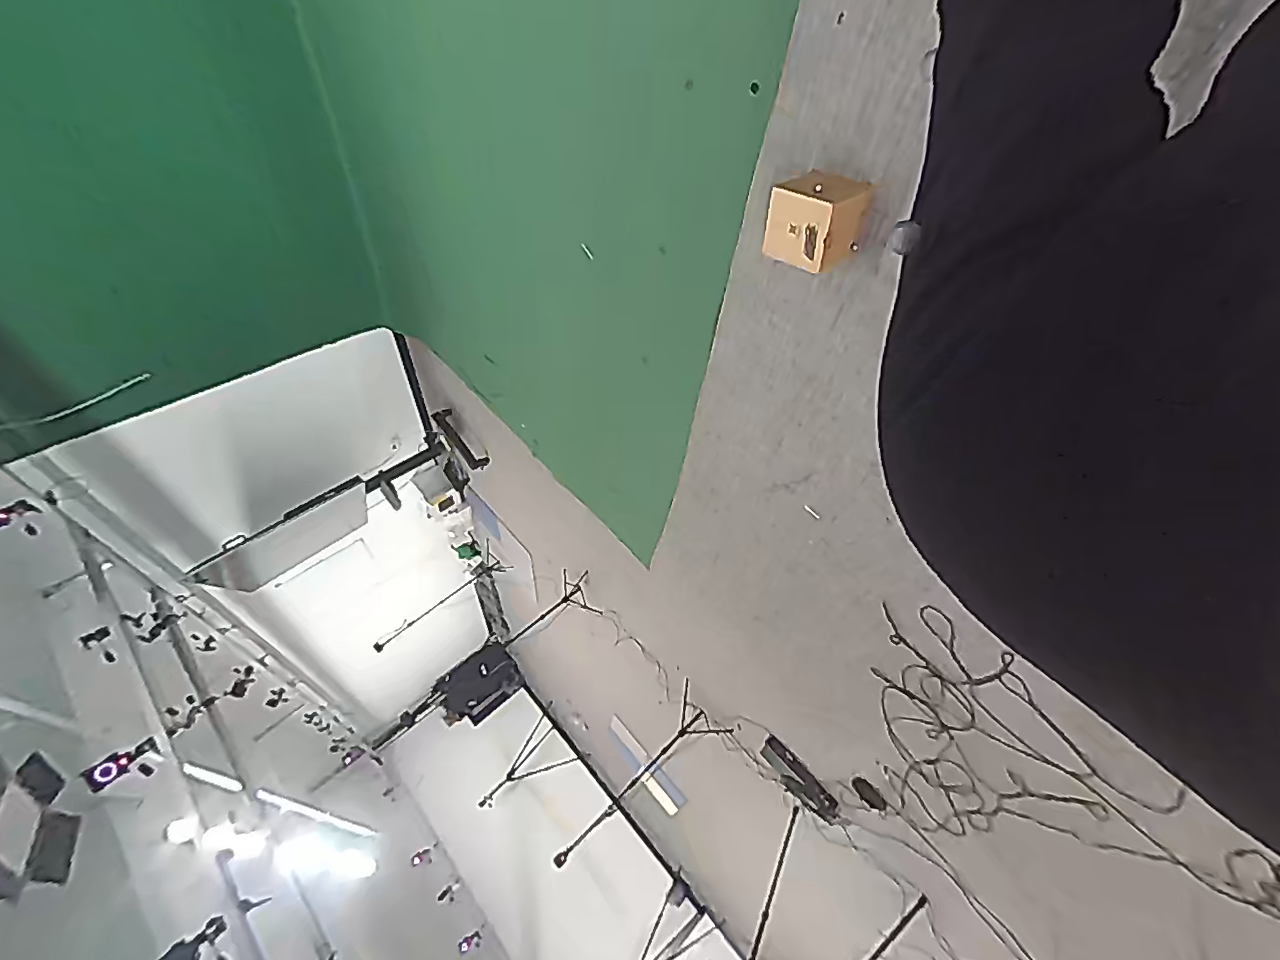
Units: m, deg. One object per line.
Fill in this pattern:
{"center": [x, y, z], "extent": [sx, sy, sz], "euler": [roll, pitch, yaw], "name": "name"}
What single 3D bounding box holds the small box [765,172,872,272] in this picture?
{"center": [0.442, -0.647, 1.344], "extent": [0.179, 0.176, 0.168], "euler": [38, 146, 31], "name": "small box"}
